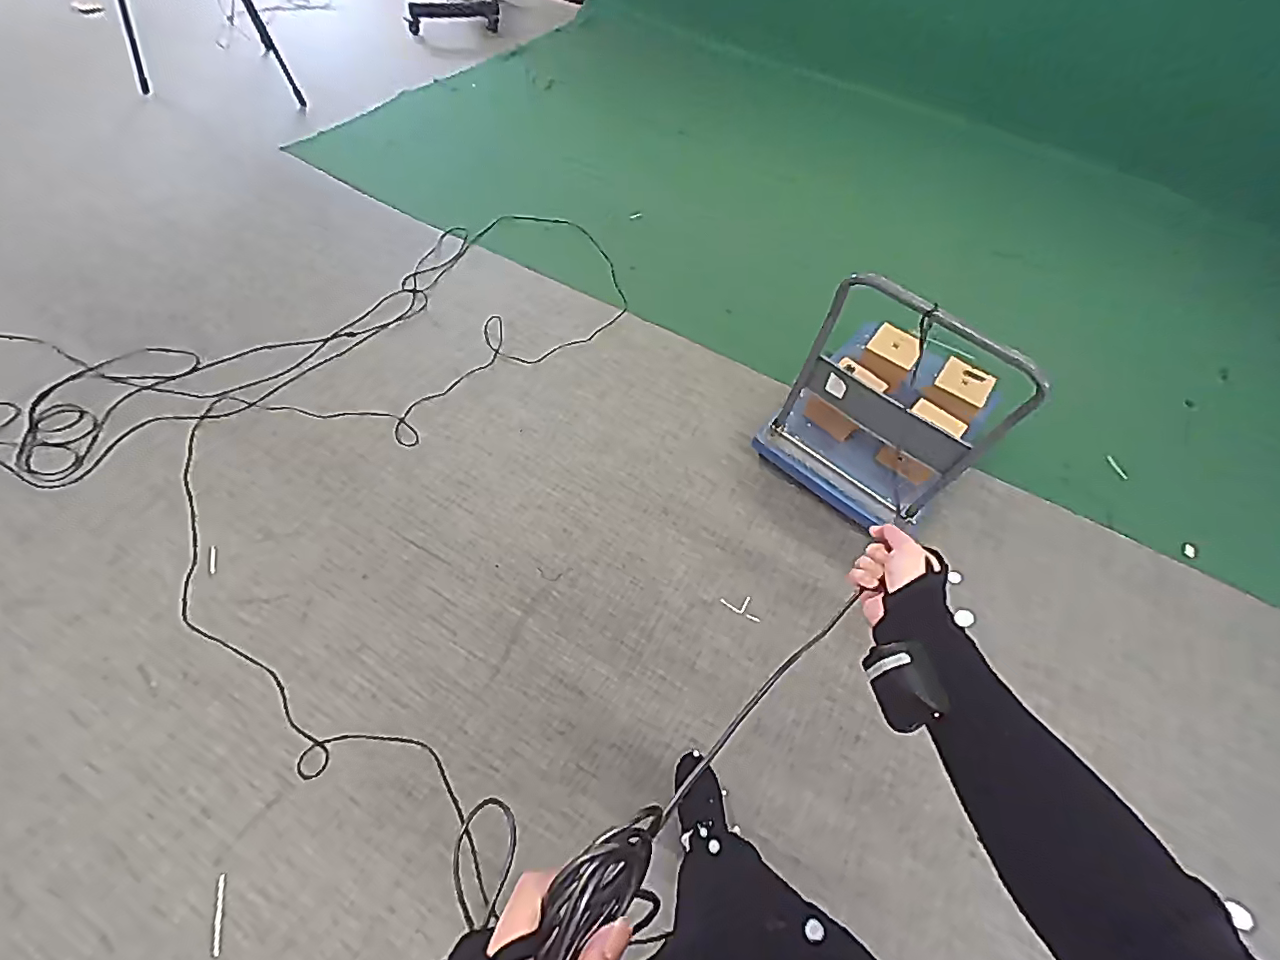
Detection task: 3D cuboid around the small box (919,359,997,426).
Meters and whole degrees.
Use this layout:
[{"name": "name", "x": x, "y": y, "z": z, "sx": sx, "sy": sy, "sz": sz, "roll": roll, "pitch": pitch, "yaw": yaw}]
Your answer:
[{"name": "small box", "x": 1.087, "y": -0.279, "z": 1.873, "sx": 0.168, "sy": 0.176, "sz": 0.179, "roll": 34, "pitch": 61, "yaw": 17}]

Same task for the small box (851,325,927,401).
[{"name": "small box", "x": 0.888, "y": -0.416, "z": 1.943, "sx": 0.168, "sy": 0.176, "sz": 0.179, "roll": 35, "pitch": 60, "yaw": 16}]

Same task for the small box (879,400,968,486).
[{"name": "small box", "x": 0.910, "y": -0.117, "z": 1.749, "sx": 0.168, "sy": 0.176, "sz": 0.179, "roll": 39, "pitch": 61, "yaw": 19}]
